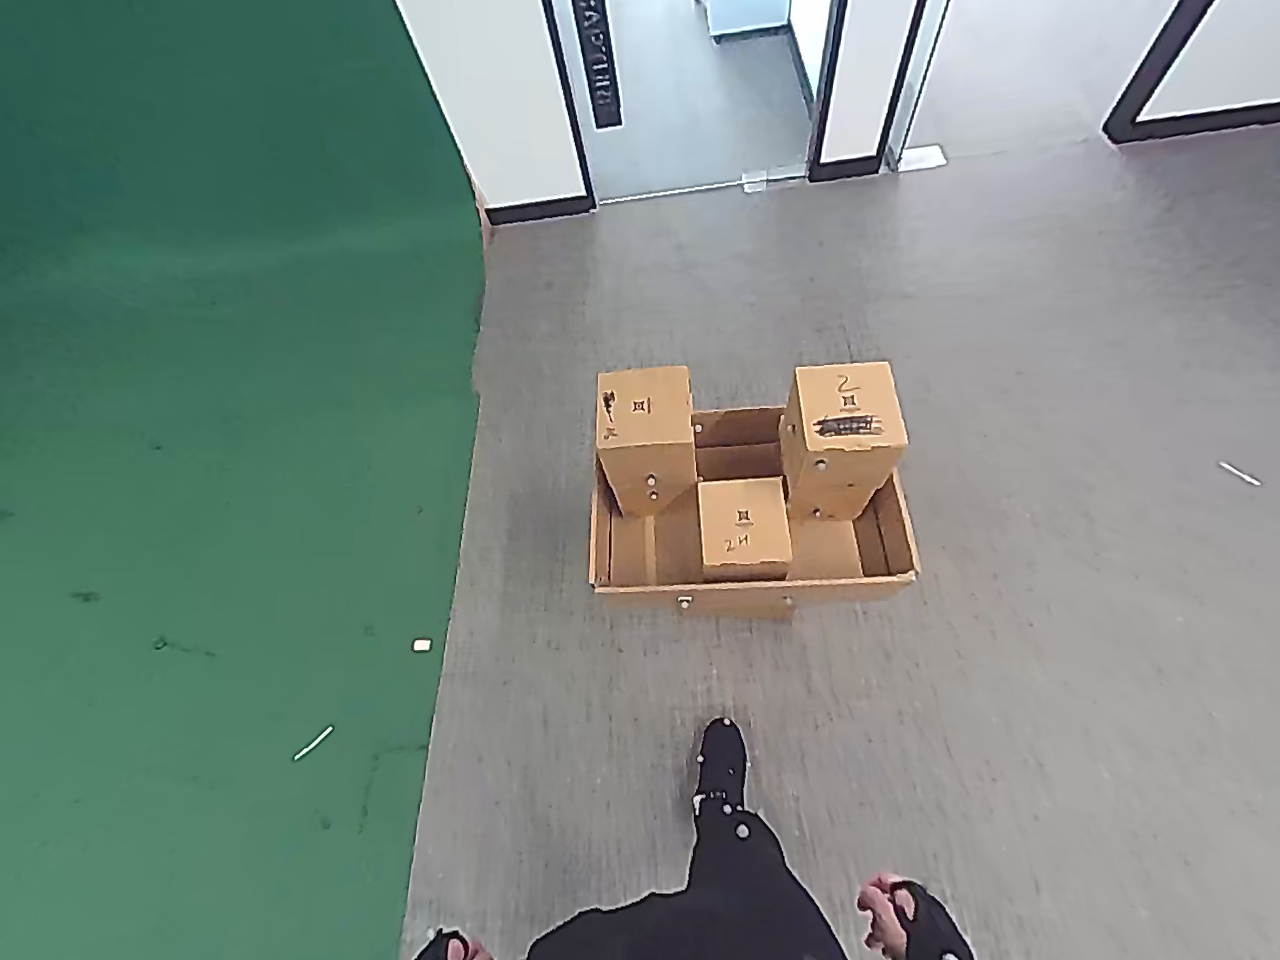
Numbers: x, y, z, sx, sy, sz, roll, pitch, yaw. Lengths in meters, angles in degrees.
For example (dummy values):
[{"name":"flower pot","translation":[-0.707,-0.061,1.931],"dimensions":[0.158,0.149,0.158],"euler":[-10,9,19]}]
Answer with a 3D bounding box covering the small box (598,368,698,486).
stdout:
[{"name":"small box","translation":[0.021,-0.097,1.049],"dimensions":[0.179,0.176,0.168],"euler":[-3,63,5]}]
